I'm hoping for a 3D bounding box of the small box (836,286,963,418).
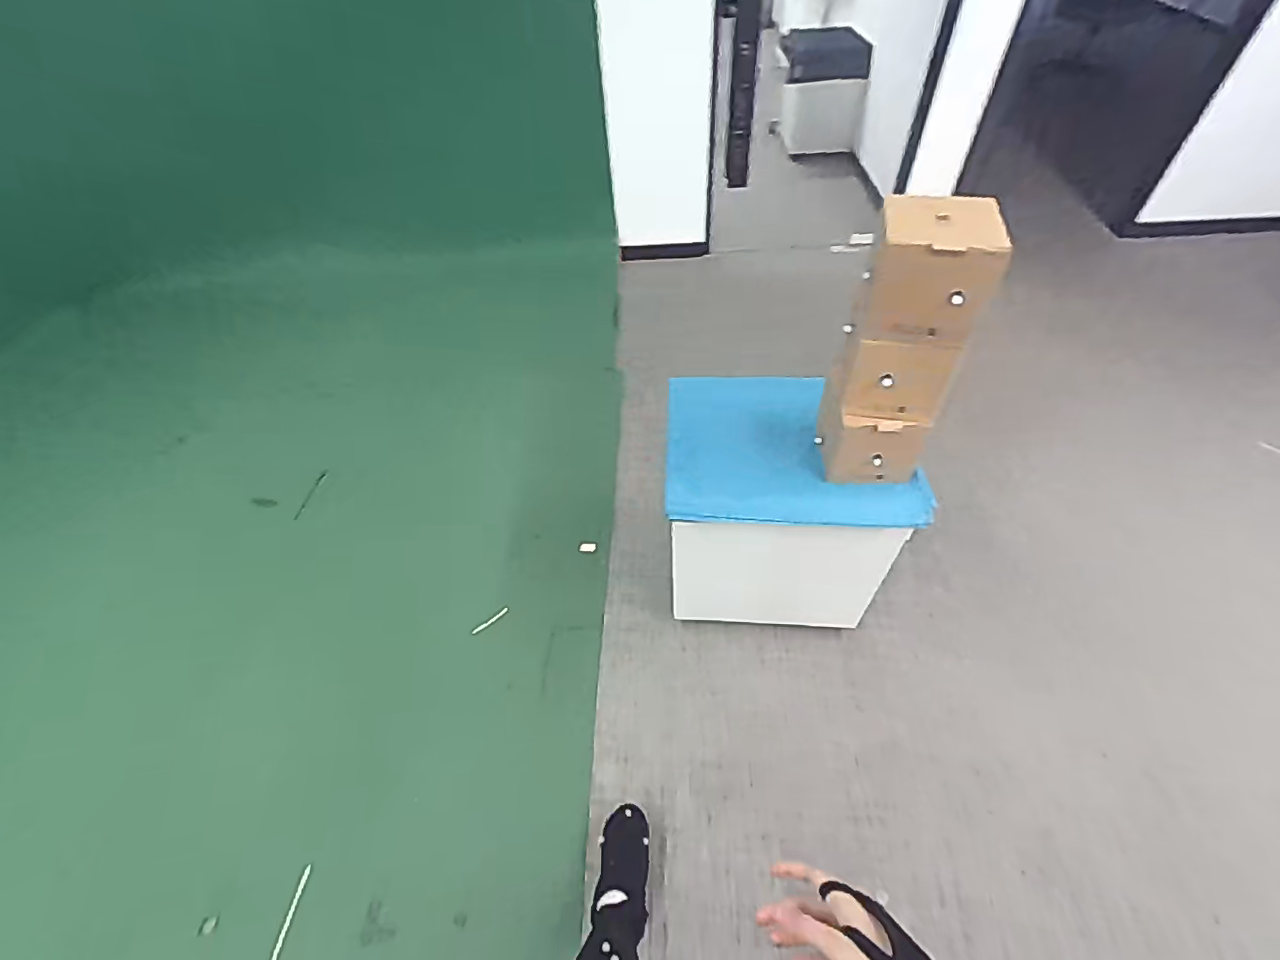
[{"bbox_3d":[0.464,-0.234,0.994,0.168,0.176,0.179,7,49,11],"label":"small box"}]

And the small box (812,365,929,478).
[{"bbox_3d":[0.460,-0.117,1.109,0.168,0.176,0.179,1,50,4],"label":"small box"}]

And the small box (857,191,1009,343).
[{"bbox_3d":[0.457,-0.342,0.872,0.168,0.176,0.179,10,49,12],"label":"small box"}]
